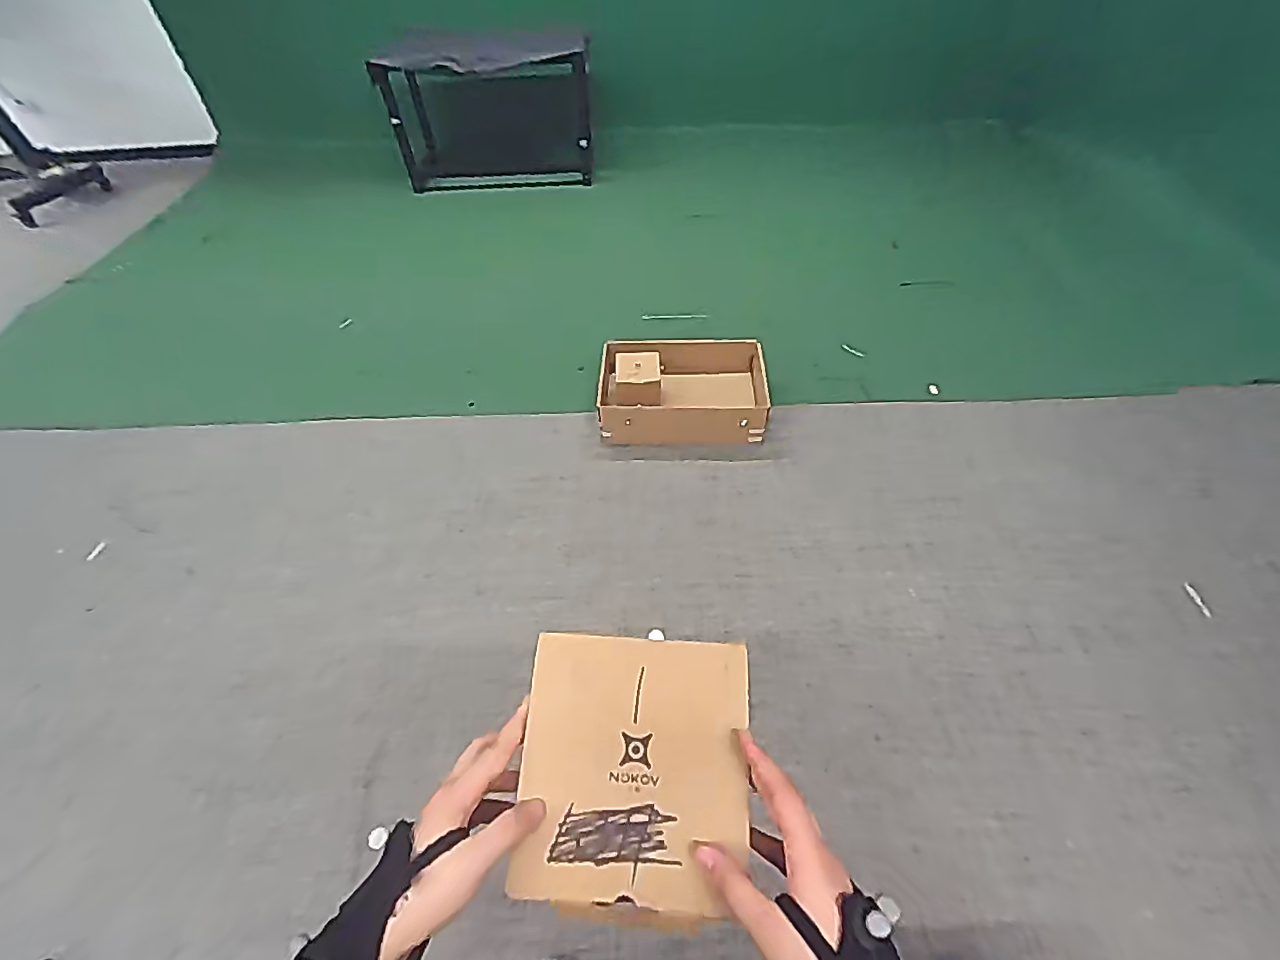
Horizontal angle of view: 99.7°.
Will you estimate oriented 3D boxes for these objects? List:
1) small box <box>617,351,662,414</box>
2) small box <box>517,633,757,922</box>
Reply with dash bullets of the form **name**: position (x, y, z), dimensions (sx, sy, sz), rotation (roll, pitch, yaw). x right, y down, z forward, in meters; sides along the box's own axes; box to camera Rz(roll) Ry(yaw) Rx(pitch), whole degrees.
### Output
- **small box**: position (-0.001, -0.370, 2.065), dimensions (0.168, 0.176, 0.179), rotation (-2, 51, 1)
- **small box**: position (0.008, 0.233, 0.464), dimensions (0.168, 0.176, 0.179), rotation (2, 69, 4)
